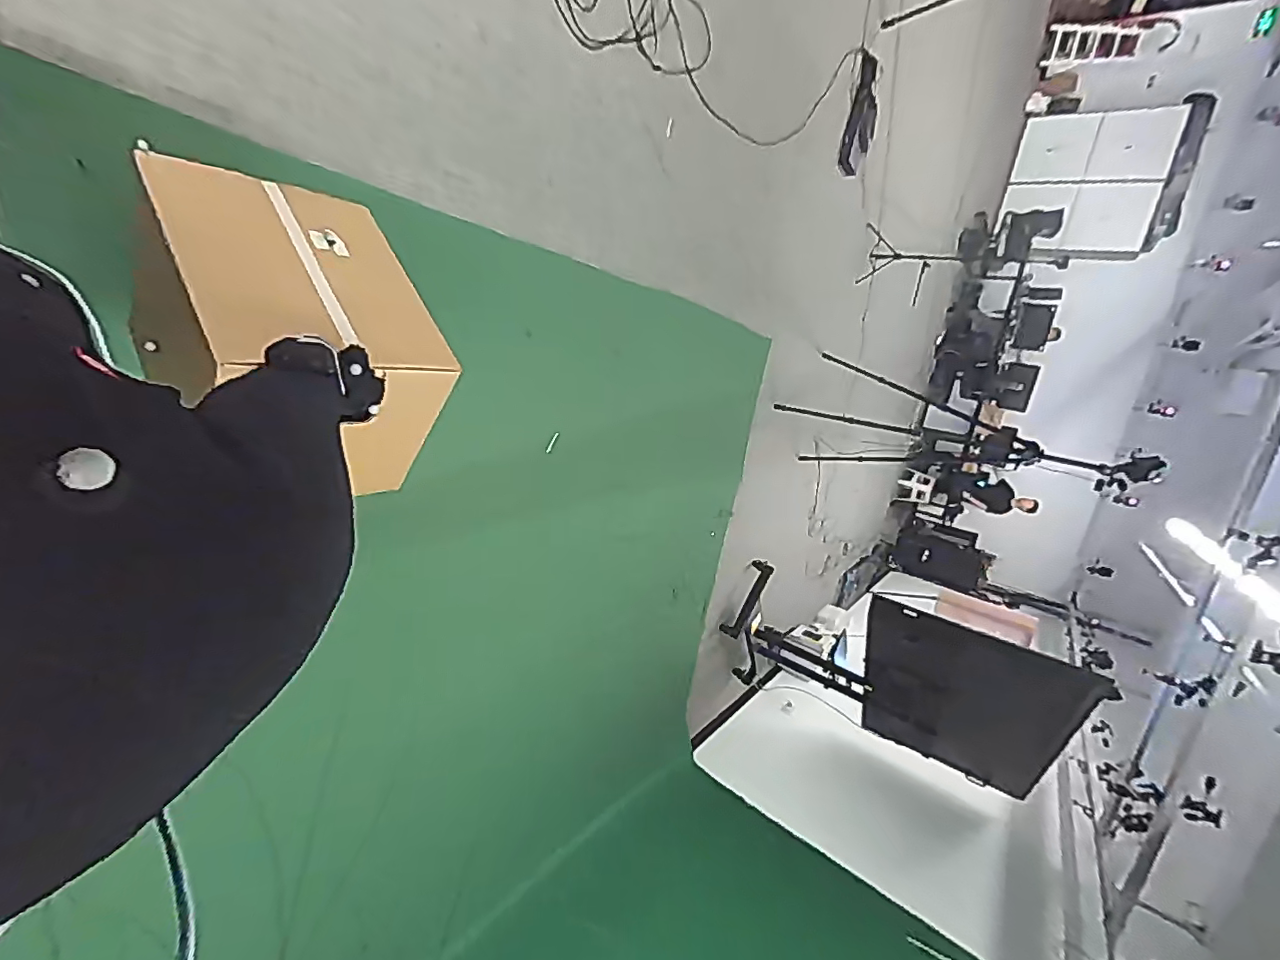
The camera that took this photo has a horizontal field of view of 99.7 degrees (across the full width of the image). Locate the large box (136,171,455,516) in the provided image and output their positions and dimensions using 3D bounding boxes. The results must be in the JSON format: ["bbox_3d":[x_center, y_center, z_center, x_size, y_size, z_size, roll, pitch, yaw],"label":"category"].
[{"bbox_3d":[-0.574,-0.206,0.887,0.320,0.408,0.320,-11,150,-50],"label":"large box"}]
